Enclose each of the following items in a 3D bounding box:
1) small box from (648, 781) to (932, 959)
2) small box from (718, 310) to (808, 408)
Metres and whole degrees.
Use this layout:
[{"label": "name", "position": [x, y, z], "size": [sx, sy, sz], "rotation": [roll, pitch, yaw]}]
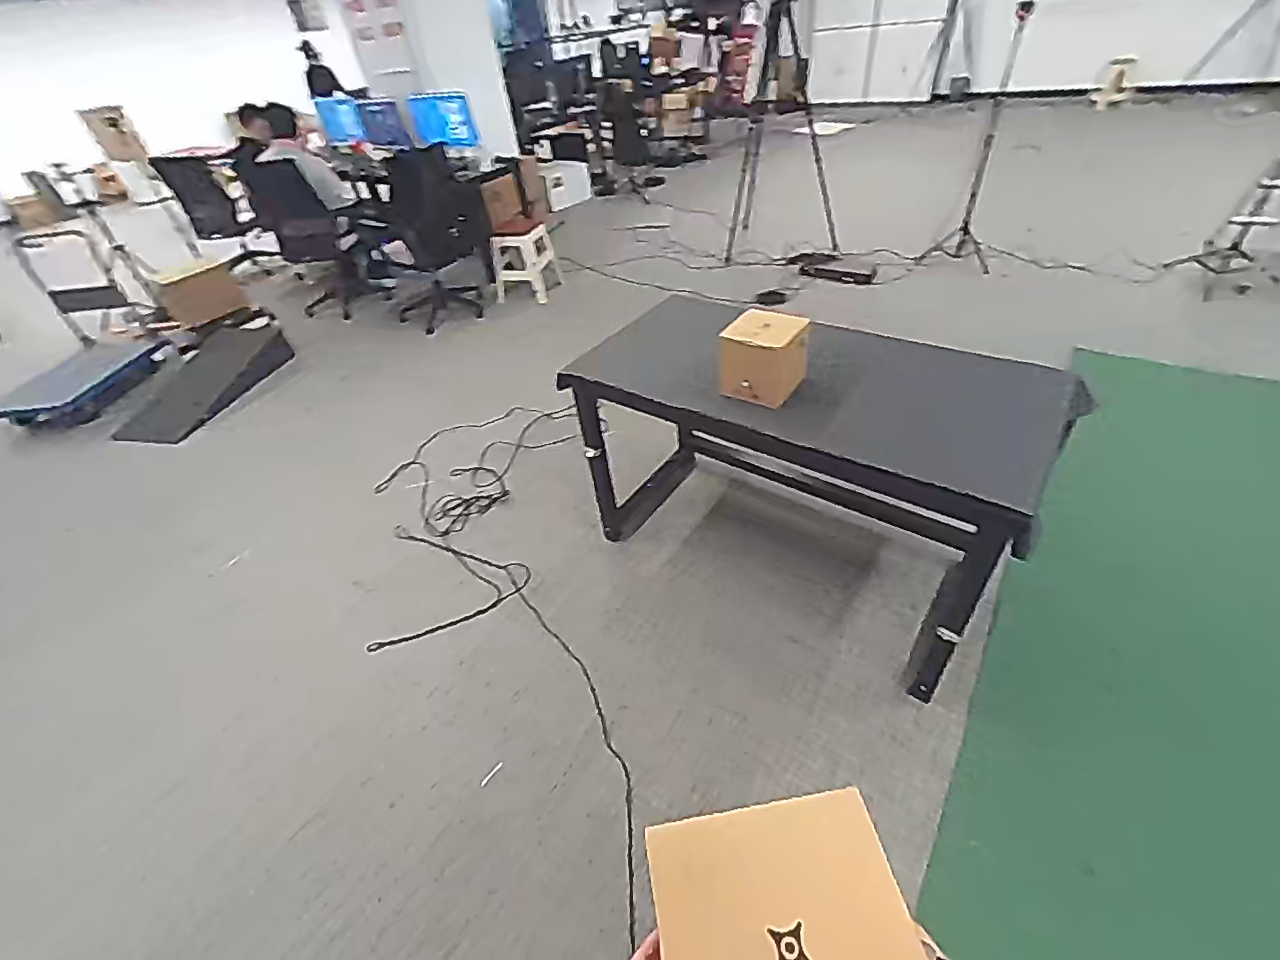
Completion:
[{"label": "small box", "position": [0.101, 0.352, 0.389], "size": [0.168, 0.176, 0.179], "rotation": [-9, 41, -3]}, {"label": "small box", "position": [0.311, -0.310, 1.379], "size": [0.168, 0.176, 0.179], "rotation": [21, 48, 30]}]
